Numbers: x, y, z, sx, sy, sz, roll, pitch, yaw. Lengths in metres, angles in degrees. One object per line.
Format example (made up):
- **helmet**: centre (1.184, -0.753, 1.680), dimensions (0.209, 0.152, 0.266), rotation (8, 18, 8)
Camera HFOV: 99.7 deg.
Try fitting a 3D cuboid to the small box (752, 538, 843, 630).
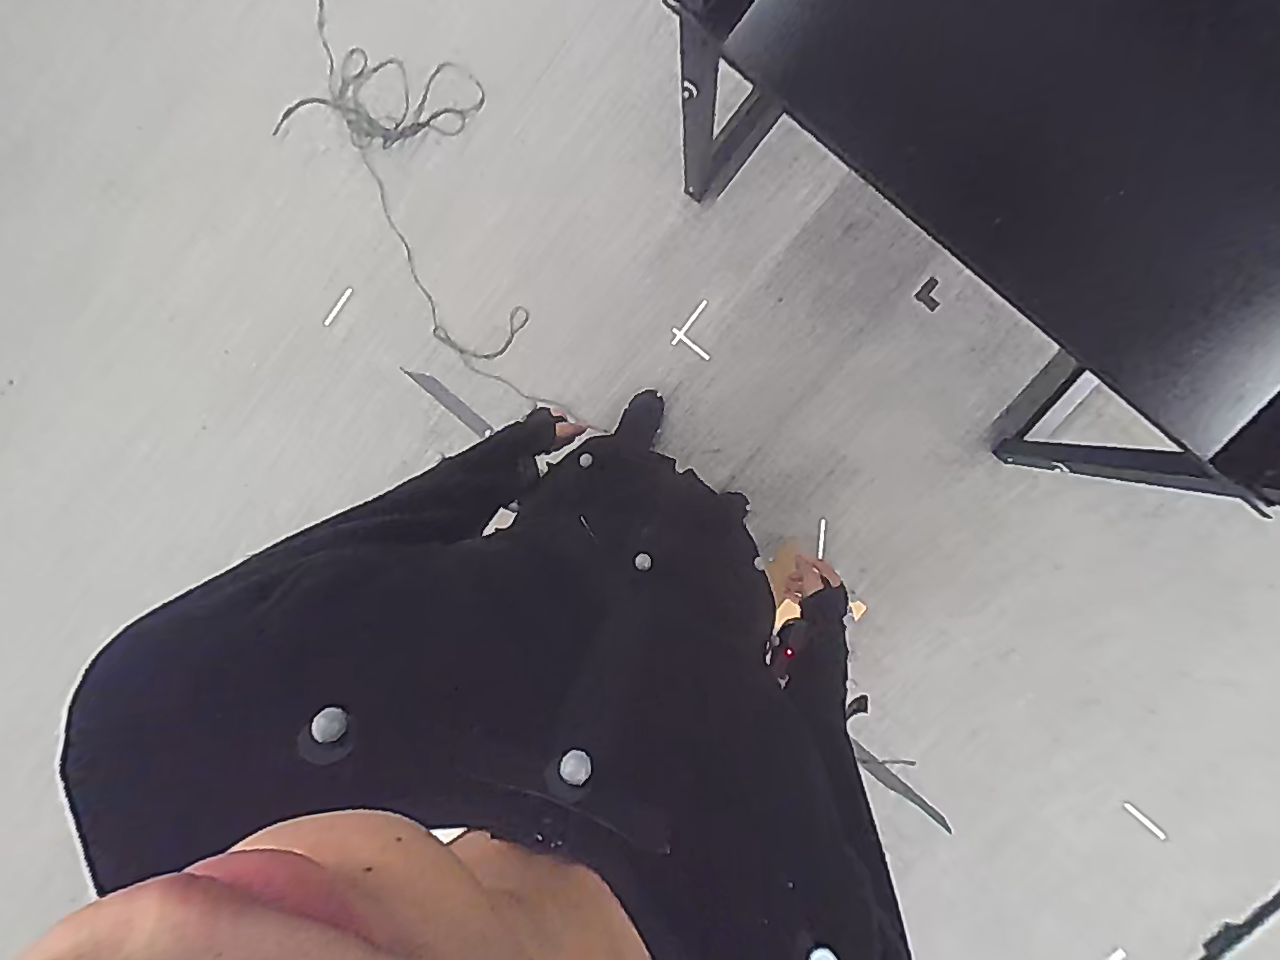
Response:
- **small box**: centre (0.442, 0.287, 1.548), dimensions (0.179, 0.176, 0.168), rotation (39, 99, 0)
